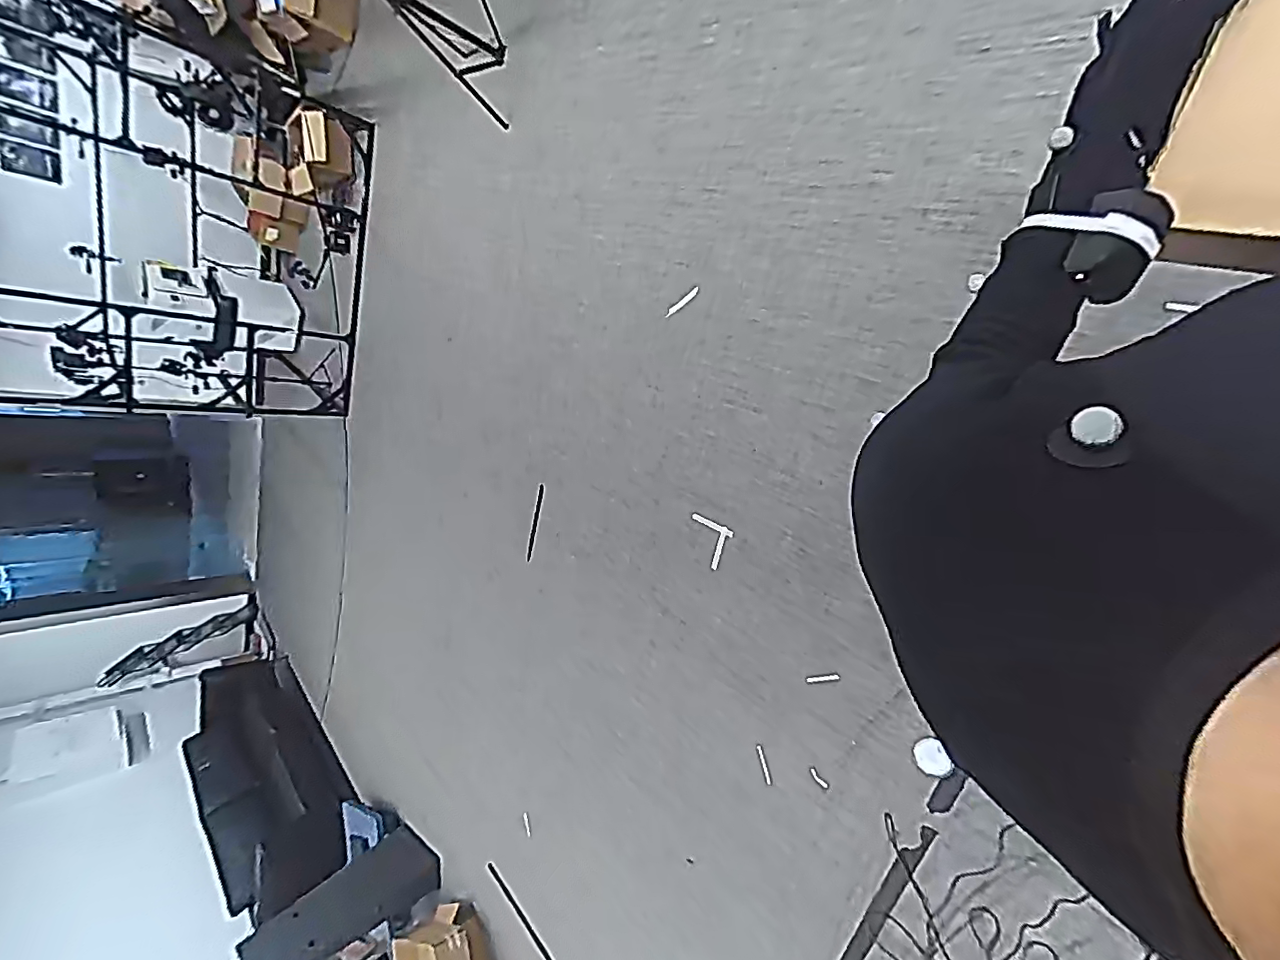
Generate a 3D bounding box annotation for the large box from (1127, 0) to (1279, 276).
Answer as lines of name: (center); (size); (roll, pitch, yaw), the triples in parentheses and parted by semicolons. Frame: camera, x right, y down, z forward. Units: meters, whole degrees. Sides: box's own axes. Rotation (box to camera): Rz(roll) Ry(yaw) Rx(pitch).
large box: (0.652, -0.300, 0.368); (0.408, 0.320, 0.320); (27, 120, 35)
